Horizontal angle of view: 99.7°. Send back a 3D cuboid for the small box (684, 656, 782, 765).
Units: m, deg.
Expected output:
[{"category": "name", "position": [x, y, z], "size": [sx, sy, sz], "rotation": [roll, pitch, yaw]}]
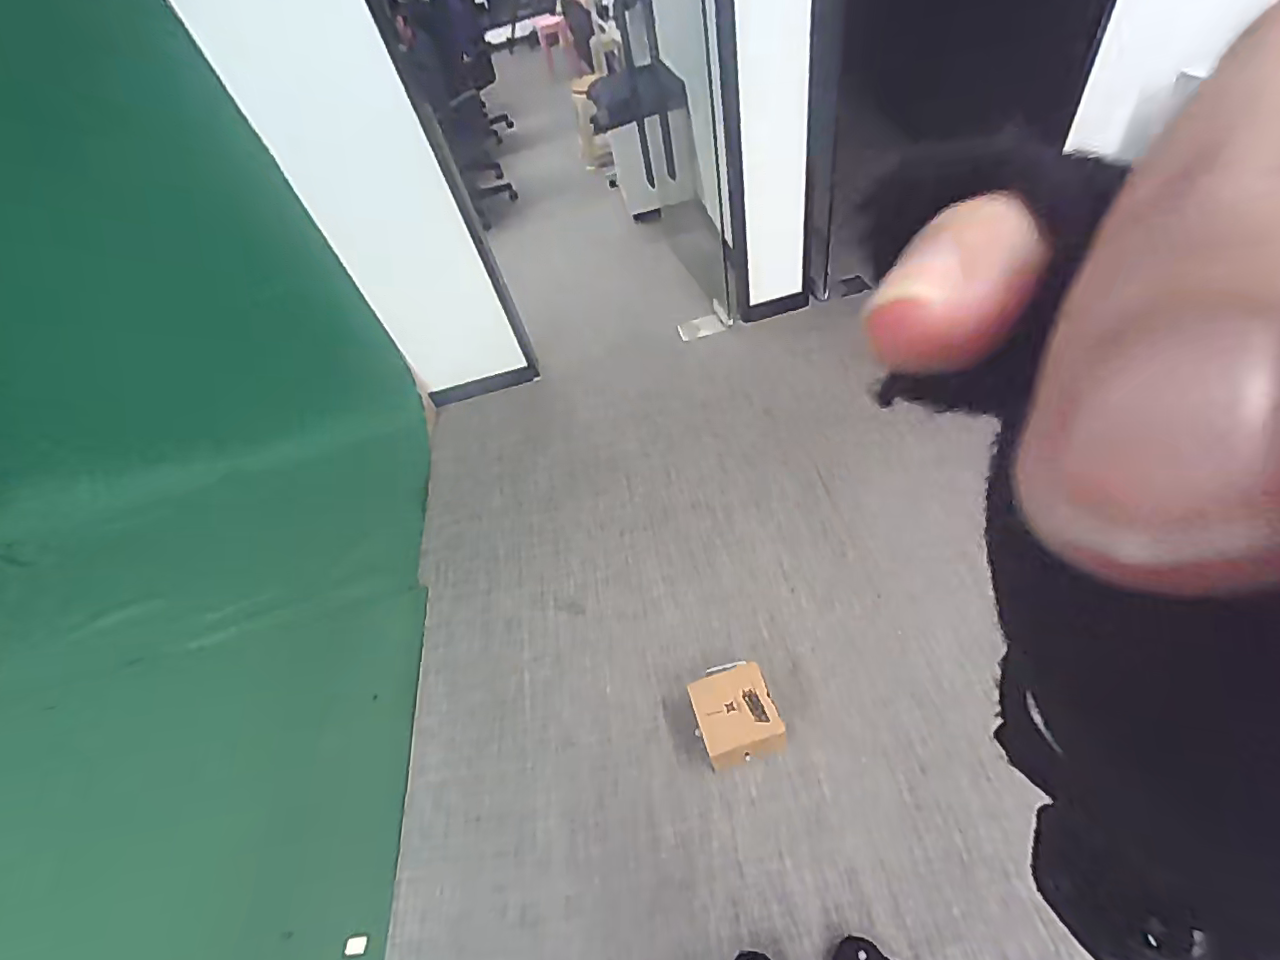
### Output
[{"category": "small box", "position": [0.219, 0.550, 1.283], "size": [0.179, 0.176, 0.168], "rotation": [-20, 50, -4]}]
